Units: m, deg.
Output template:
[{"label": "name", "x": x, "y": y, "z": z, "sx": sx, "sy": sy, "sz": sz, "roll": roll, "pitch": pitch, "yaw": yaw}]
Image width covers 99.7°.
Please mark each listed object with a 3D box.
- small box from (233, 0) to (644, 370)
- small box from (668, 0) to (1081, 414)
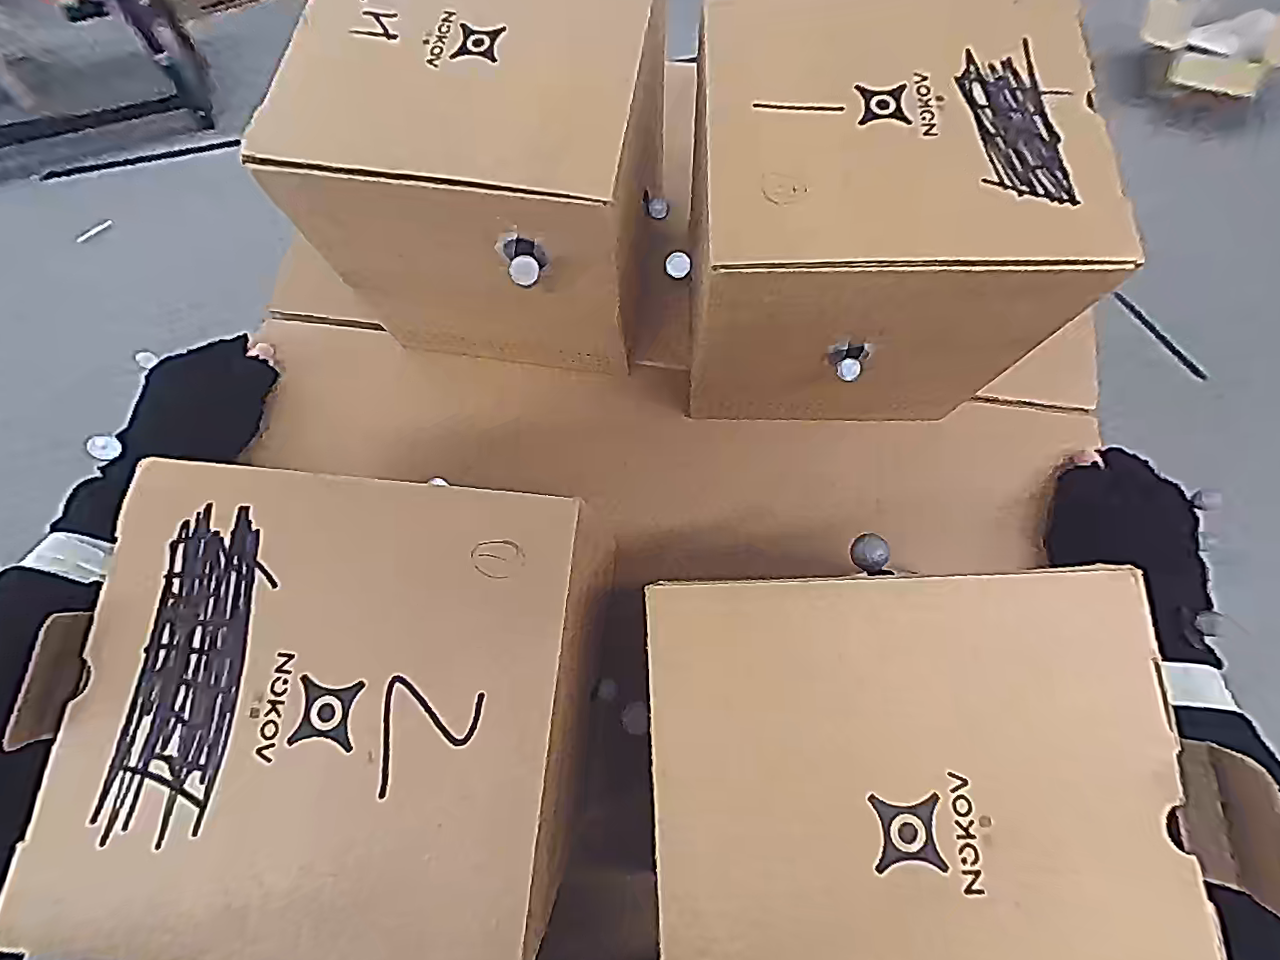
[{"label": "small box", "x": -0.094, "y": -0.187, "z": 0.348, "sx": 0.179, "sy": 0.176, "sz": 0.168, "roll": 9, "pitch": 74, "yaw": 4}, {"label": "small box", "x": 0.106, "y": -0.147, "z": 0.329, "sx": 0.179, "sy": 0.176, "sz": 0.168, "roll": 0, "pitch": 75, "yaw": 3}]
